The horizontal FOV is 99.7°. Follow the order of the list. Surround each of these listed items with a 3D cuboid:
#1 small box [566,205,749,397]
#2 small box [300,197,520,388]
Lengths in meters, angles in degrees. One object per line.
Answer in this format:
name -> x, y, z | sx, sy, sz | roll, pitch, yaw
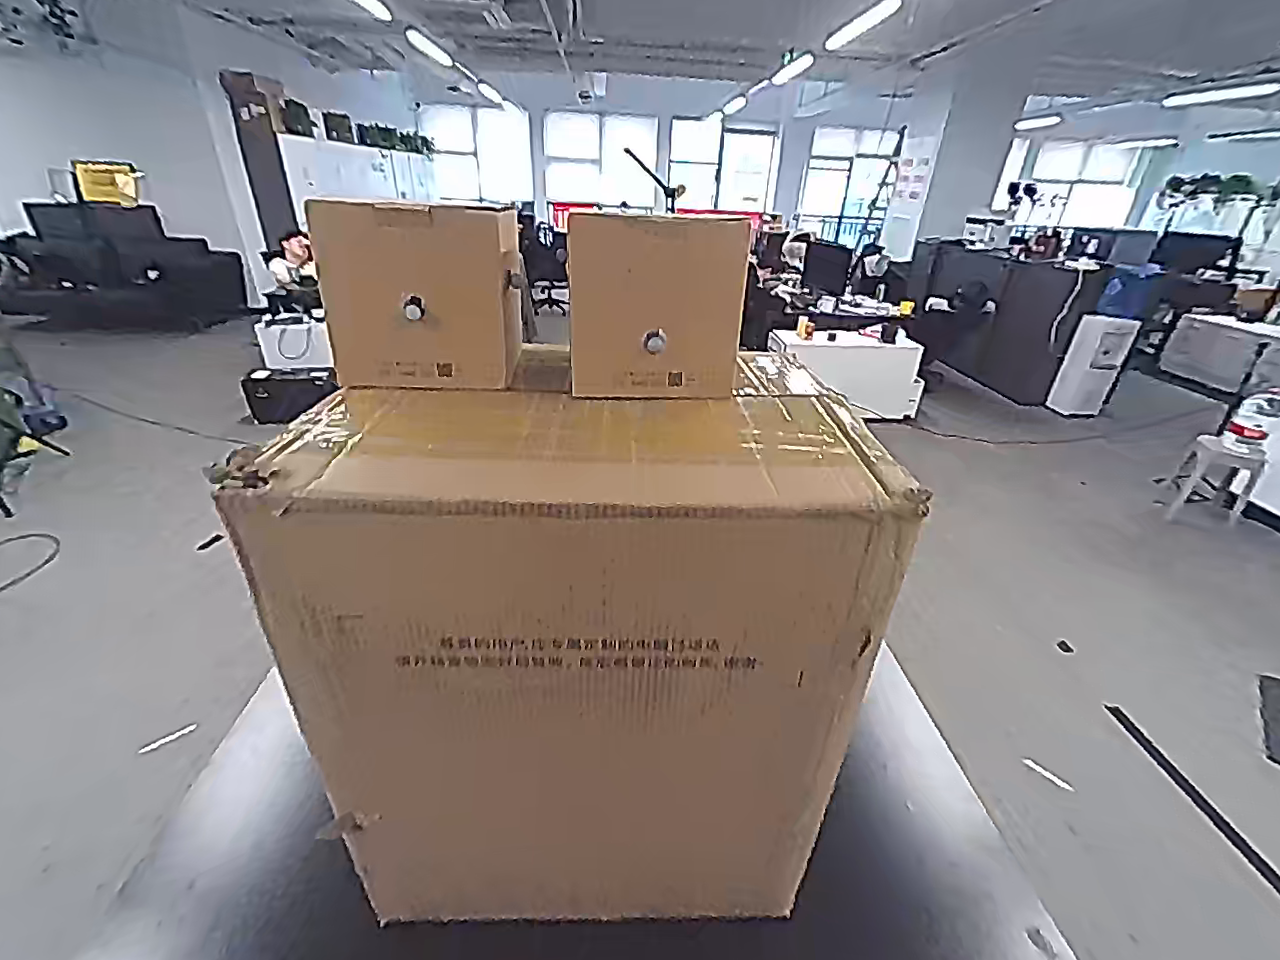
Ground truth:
small box -> 0.007, -0.196, 0.582 | 0.168, 0.176, 0.179 | -1, 27, -5
small box -> -0.220, -0.201, 0.575 | 0.168, 0.176, 0.179 | 0, 28, -8
